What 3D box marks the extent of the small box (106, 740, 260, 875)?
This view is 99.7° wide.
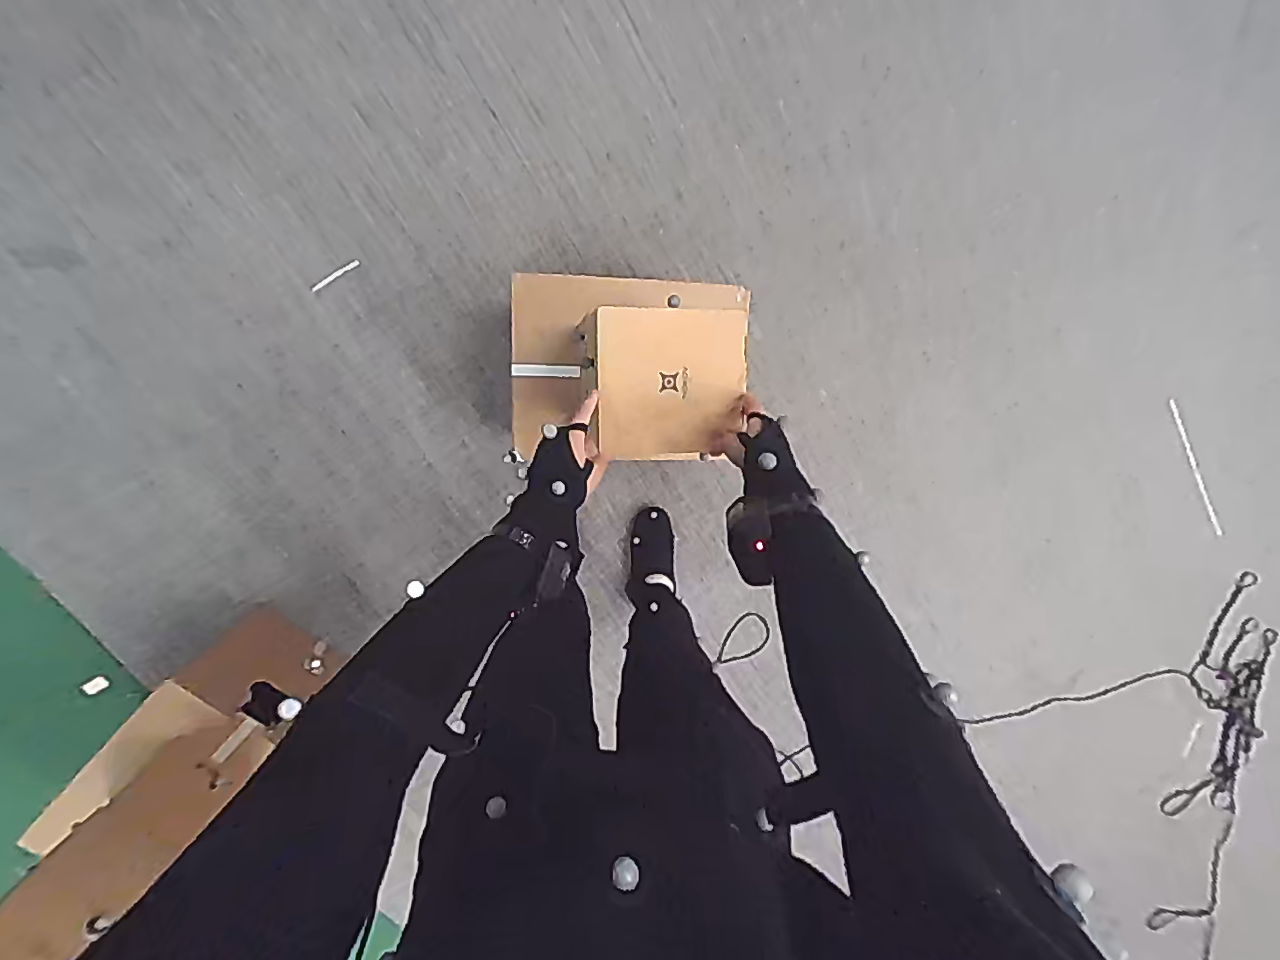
[{"bbox_3d":[-0.773,0.571,0.874,0.179,0.176,0.168,-44,105,1],"label":"small box"}]

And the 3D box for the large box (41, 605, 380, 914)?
[{"bbox_3d":[-0.828,0.544,1.112,0.320,0.320,0.408,42,93,-13],"label":"large box"}]

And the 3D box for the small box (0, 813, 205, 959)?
[{"bbox_3d":[-0.743,0.592,0.714,0.168,0.176,0.179,-42,105,1],"label":"small box"}]

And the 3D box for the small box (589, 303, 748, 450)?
[{"bbox_3d":[0.025,-0.129,0.693,0.179,0.176,0.168,-3,101,-10],"label":"small box"}]
